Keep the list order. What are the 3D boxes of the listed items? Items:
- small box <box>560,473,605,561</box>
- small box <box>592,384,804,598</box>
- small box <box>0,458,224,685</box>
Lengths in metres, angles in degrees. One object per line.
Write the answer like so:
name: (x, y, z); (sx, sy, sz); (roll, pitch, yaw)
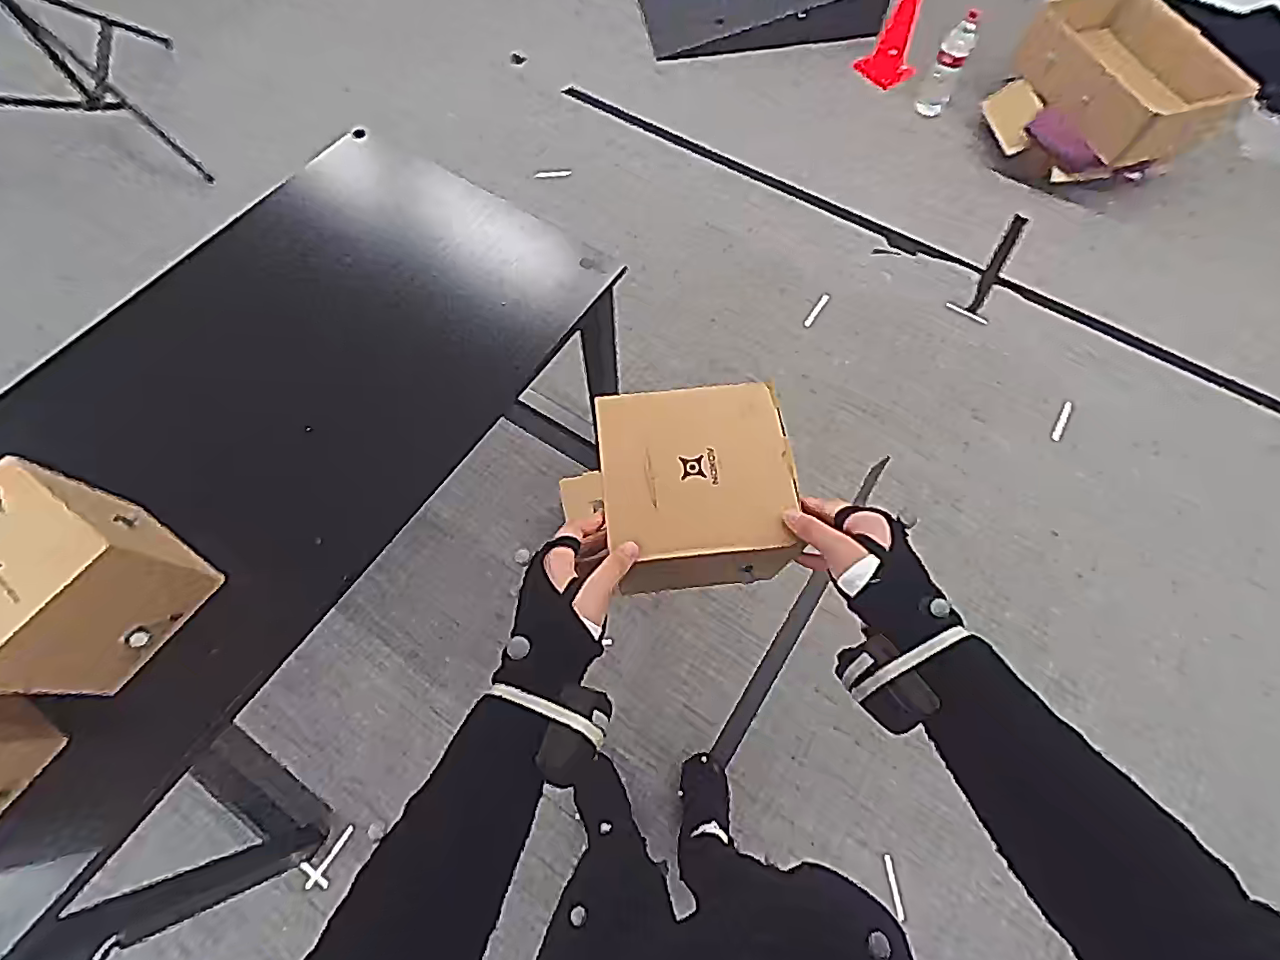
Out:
small box: (-0.107, 0.093, 1.403); (0.168, 0.176, 0.179); (-11, 68, -5)
small box: (0.049, 0.021, 0.567); (0.179, 0.176, 0.168); (-8, 67, -1)
small box: (-0.633, 0.112, 0.599); (0.179, 0.176, 0.168); (32, 71, 11)
